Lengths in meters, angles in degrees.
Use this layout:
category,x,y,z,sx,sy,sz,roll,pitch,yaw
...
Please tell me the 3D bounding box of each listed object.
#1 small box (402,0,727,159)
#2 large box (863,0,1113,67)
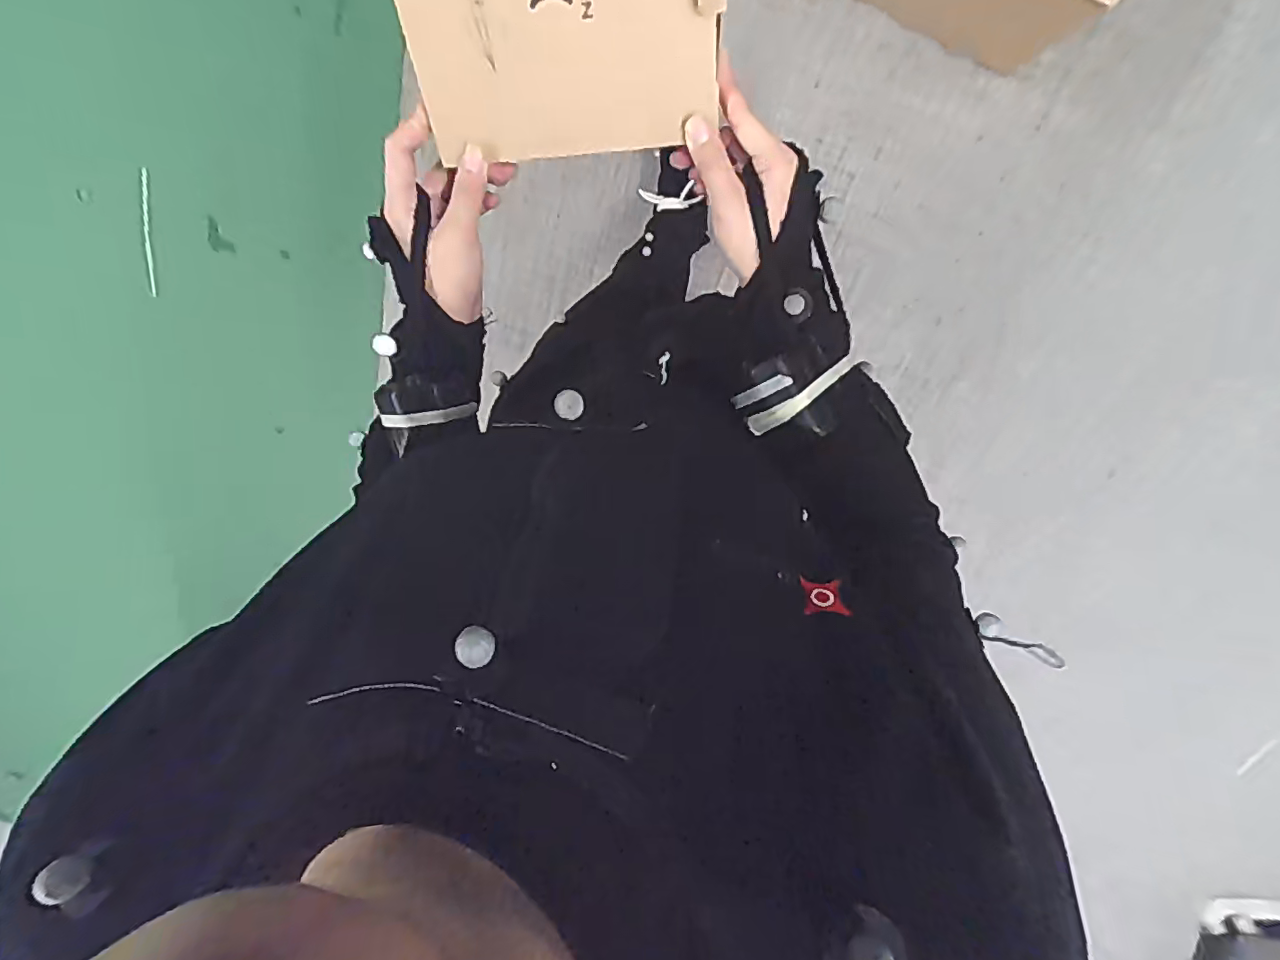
category,x,y,z,sx,sy,sz,roll,pitch,yaw
small box,-0.042,-0.320,0.340,0.179,0.176,0.168,-3,132,4
large box,0.520,-0.886,0.772,0.408,0.320,0.320,25,116,-1
